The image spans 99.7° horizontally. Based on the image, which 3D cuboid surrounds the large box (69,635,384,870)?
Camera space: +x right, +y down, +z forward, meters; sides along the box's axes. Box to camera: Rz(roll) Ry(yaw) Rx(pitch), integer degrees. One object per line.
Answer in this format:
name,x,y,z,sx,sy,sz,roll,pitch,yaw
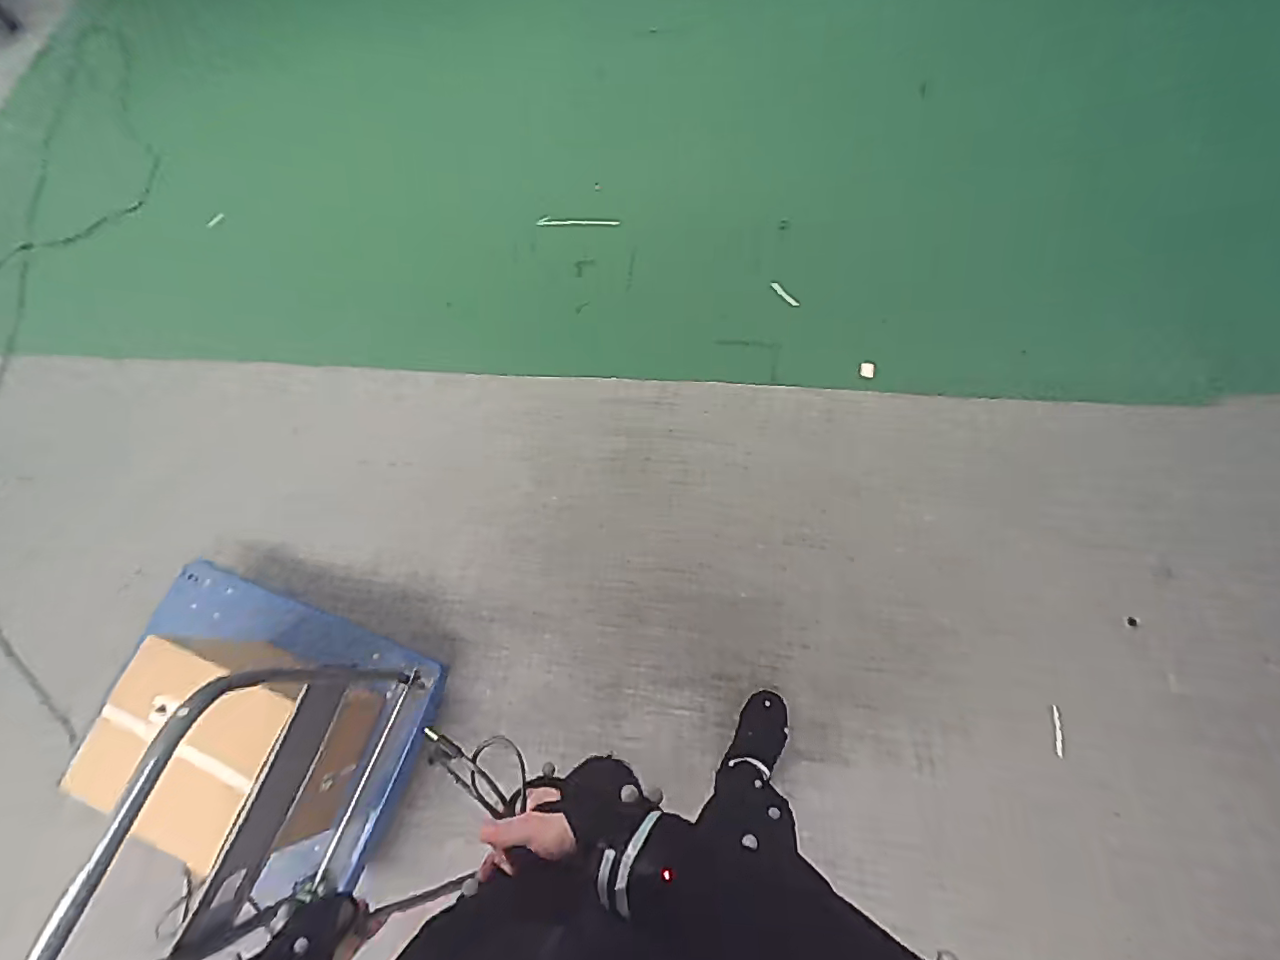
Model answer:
large box,-0.876,0.566,1.200,0.408,0.320,0.320,16,73,15
